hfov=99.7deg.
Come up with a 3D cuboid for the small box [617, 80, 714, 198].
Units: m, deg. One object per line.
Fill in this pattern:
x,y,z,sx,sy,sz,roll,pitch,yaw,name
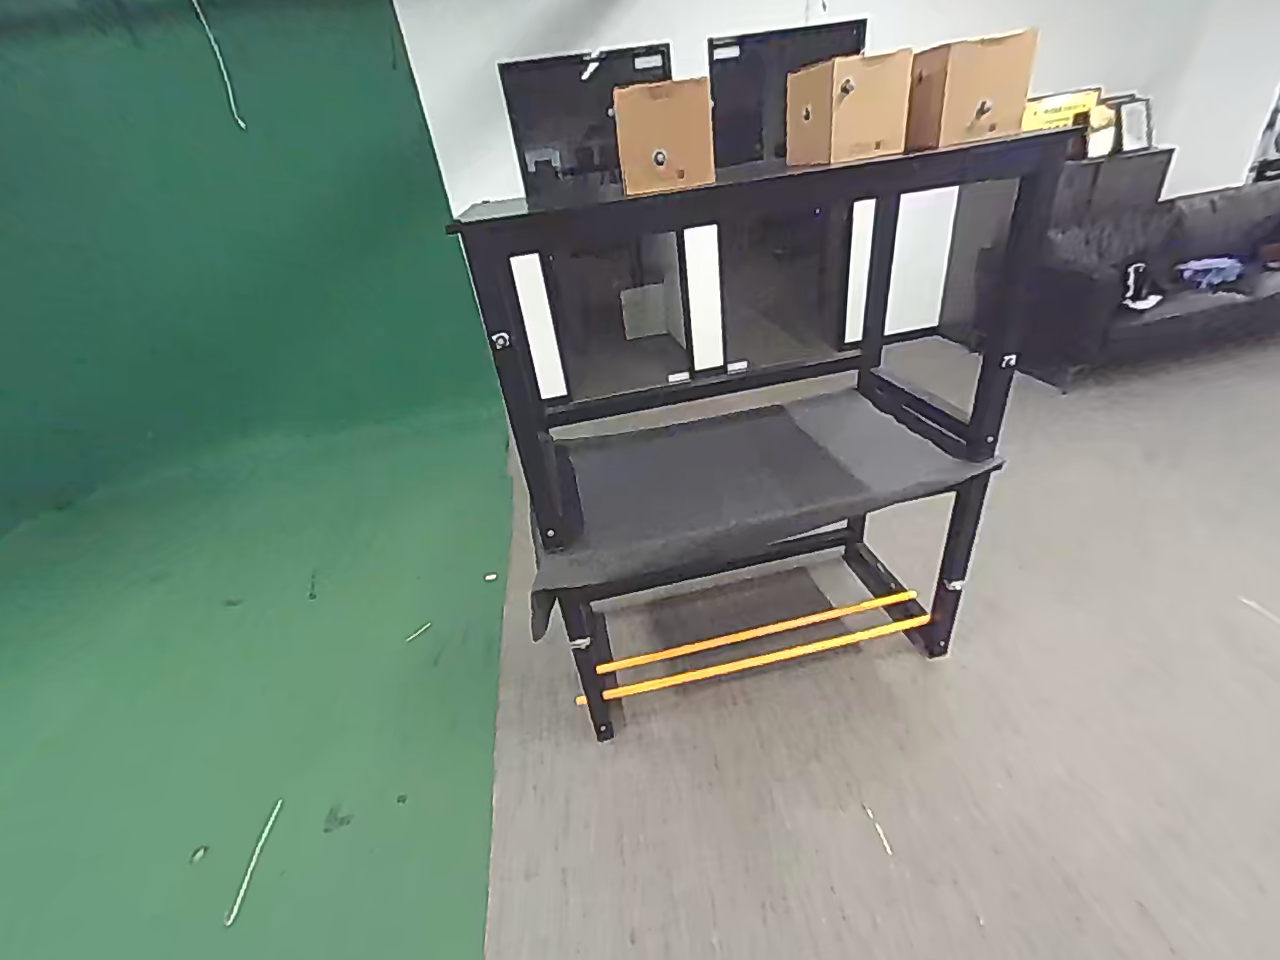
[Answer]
0.047,-0.646,1.038,0.168,0.176,0.179,-7,31,1,small box
